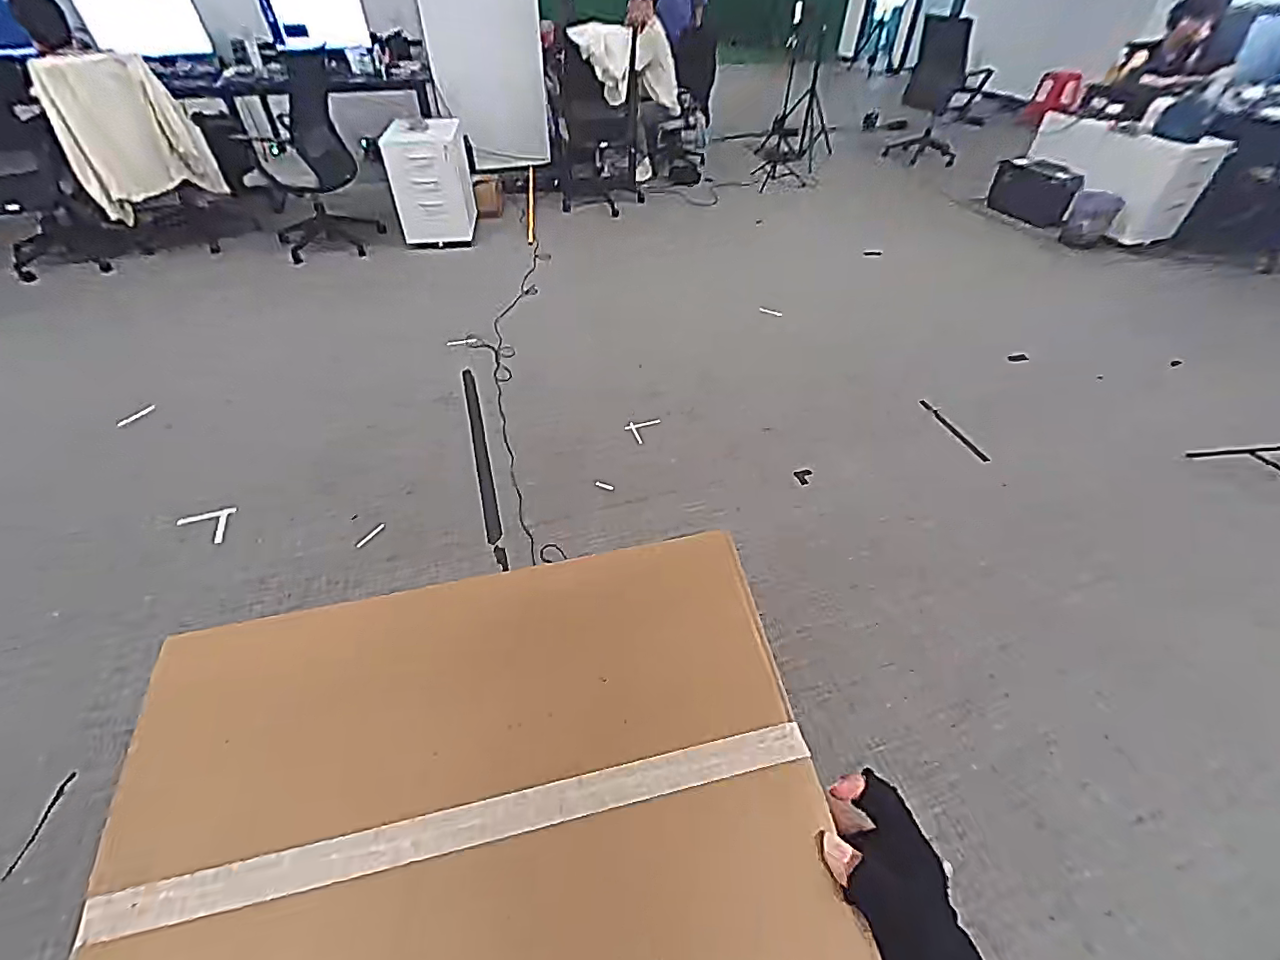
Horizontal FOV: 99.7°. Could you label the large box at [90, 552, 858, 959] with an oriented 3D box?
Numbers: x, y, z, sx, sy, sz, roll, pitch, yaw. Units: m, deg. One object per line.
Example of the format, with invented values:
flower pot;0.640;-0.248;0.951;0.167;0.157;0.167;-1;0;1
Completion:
large box;-0.099;0.299;0.439;0.408;0.320;0.320;-10;54;-8
